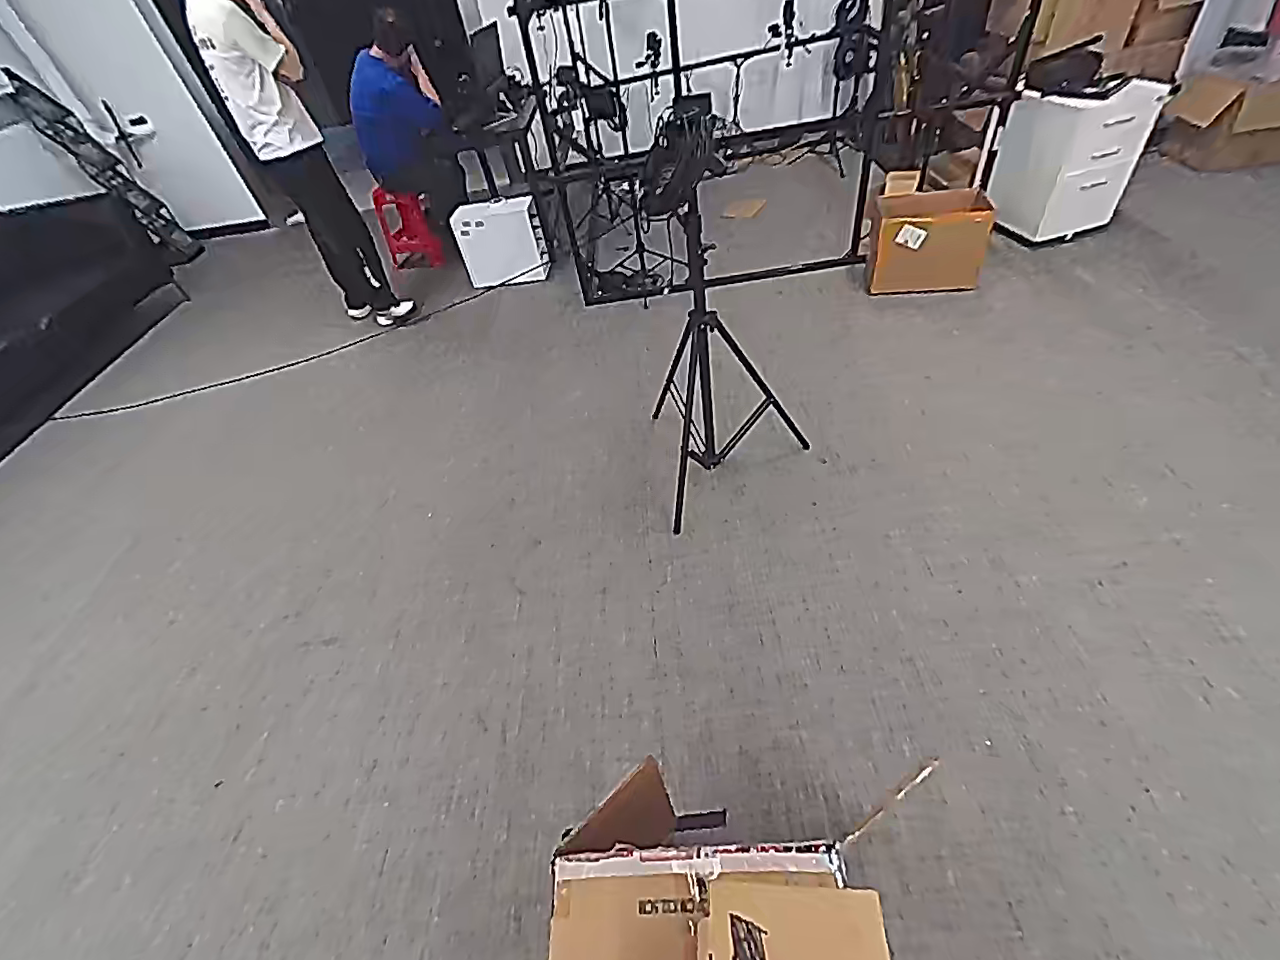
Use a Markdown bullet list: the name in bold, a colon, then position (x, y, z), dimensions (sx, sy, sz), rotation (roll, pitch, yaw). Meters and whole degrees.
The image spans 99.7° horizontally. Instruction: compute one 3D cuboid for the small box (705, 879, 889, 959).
- **small box**: position (0.159, 0.535, 0.564), dimensions (0.179, 0.176, 0.168), rotation (-1, 48, 7)
